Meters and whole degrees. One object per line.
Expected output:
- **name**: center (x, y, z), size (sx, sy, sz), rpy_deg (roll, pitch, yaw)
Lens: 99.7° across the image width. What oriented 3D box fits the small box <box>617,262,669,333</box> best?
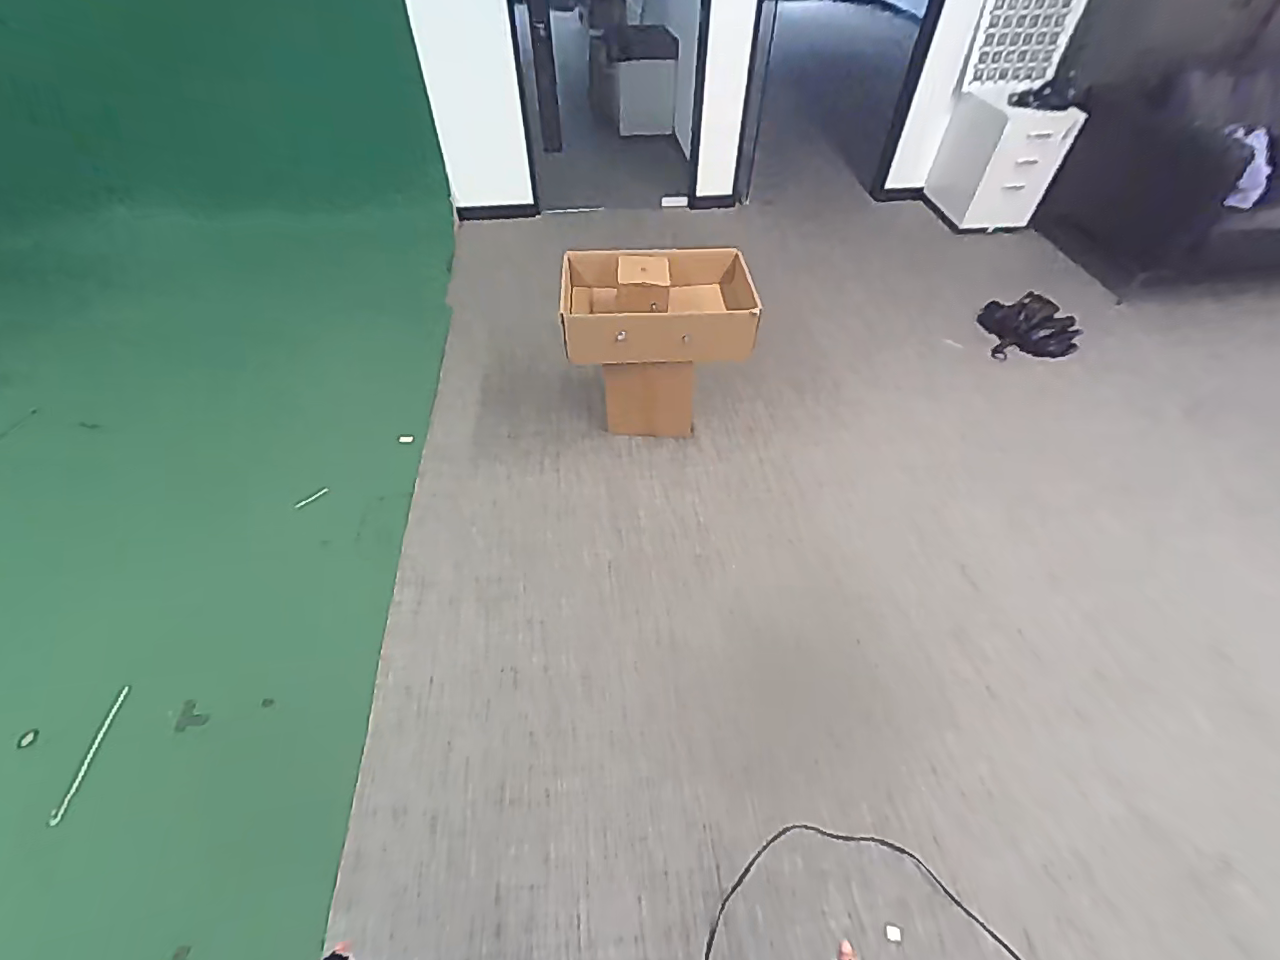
- **small box**: center (0.008, -0.607, 1.806), size (0.168, 0.176, 0.179), rpy_deg (1, 47, -3)
